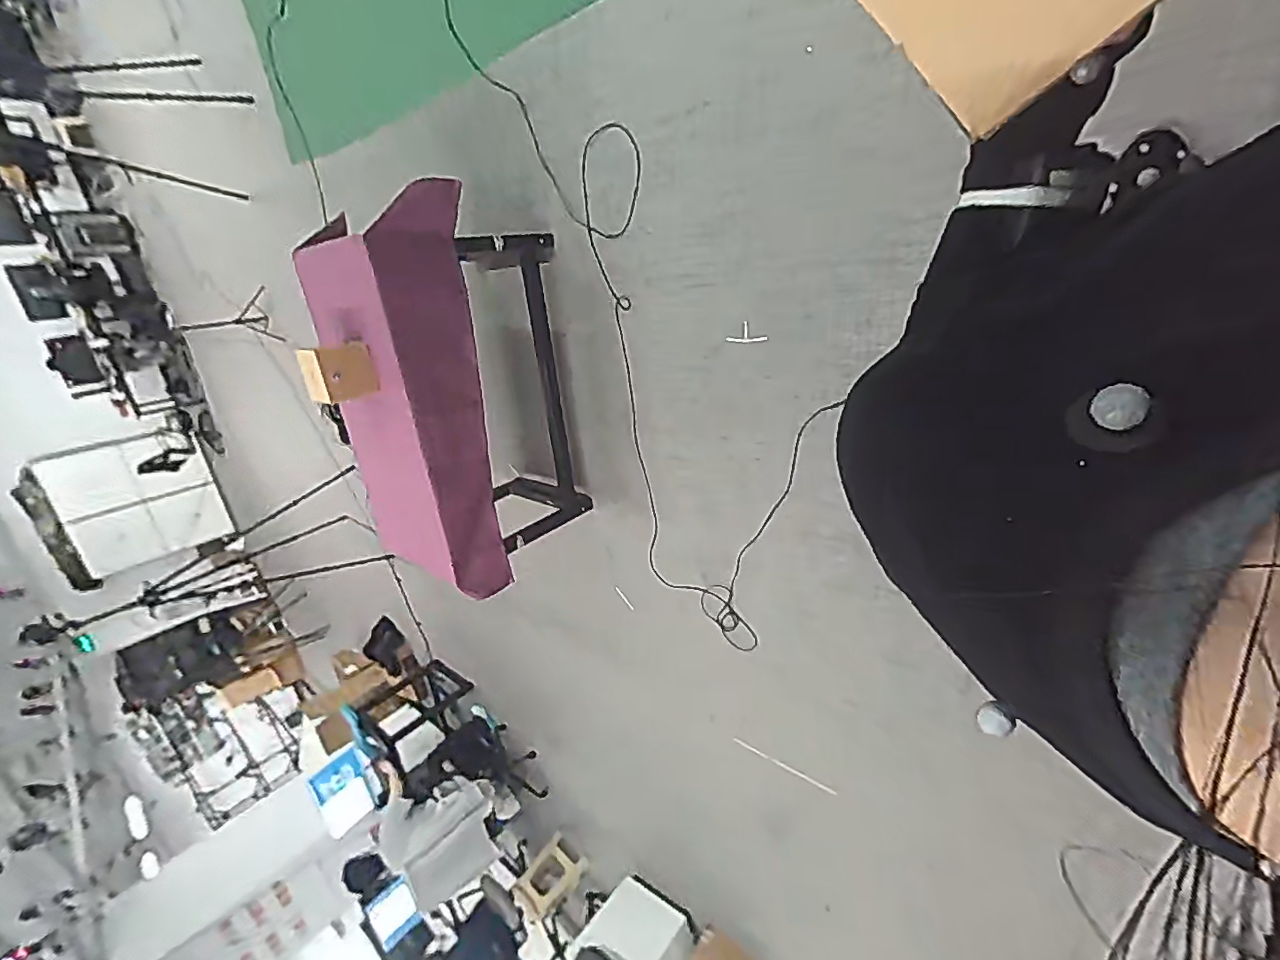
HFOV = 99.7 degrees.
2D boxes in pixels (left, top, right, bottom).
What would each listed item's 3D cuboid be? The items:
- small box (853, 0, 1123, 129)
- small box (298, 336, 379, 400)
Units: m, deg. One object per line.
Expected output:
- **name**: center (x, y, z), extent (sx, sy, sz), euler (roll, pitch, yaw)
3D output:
- **small box**: center (0.184, -0.298, 0.203), extent (0.168, 0.179, 0.176), euler (44, 167, -8)
- **small box**: center (-1.008, -0.381, 1.816), extent (0.168, 0.176, 0.179), euler (13, 118, 39)
